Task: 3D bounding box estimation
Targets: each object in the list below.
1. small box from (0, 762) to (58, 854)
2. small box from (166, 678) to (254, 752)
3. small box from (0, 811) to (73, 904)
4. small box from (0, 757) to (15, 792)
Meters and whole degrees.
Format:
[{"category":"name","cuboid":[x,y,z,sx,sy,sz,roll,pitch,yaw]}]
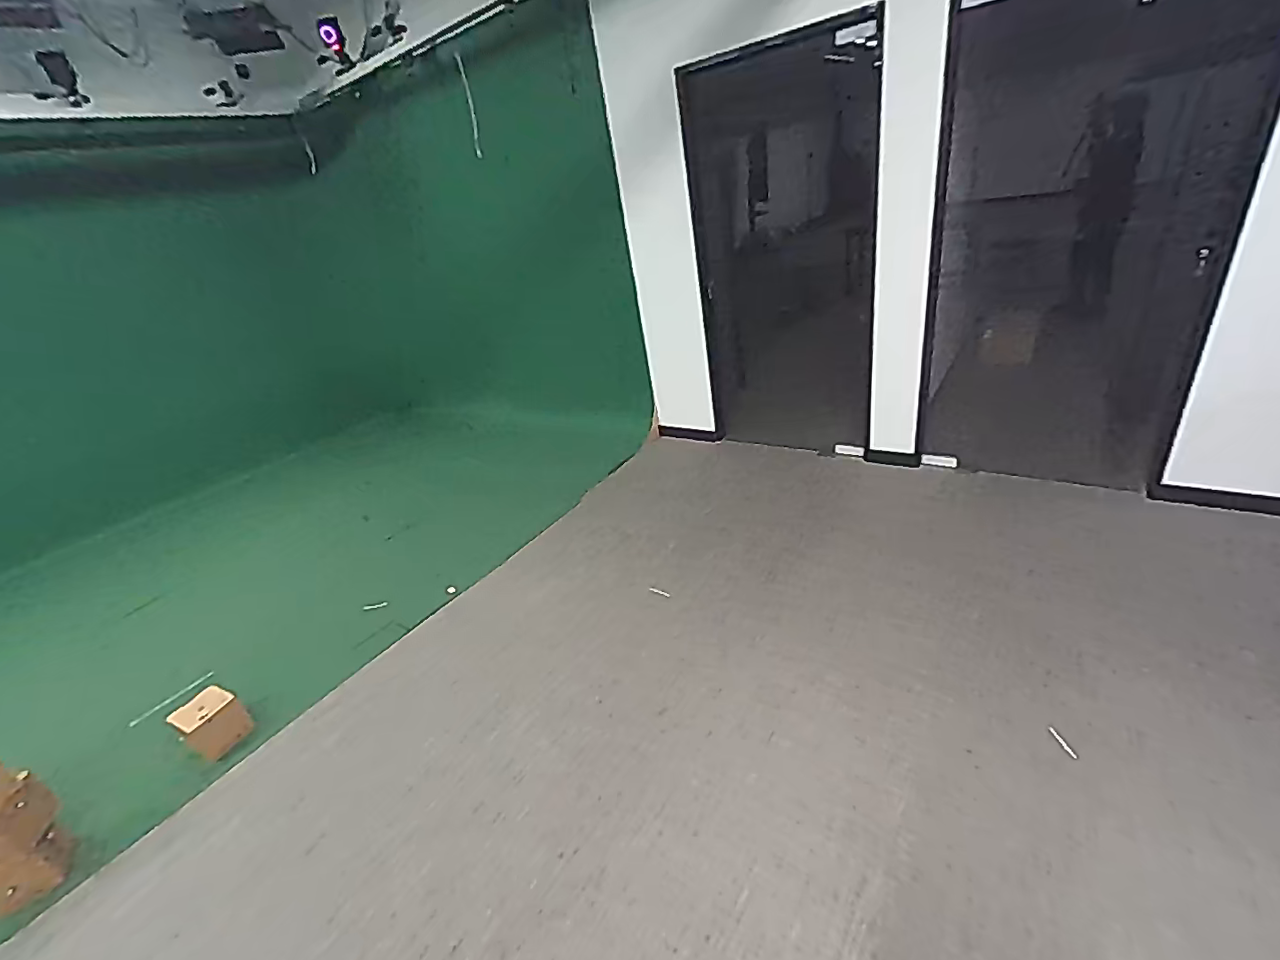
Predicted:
[{"category":"small box","cuboid":[-1.881,0.974,1.574,0.168,0.176,0.179,-15,28,-12]},{"category":"small box","cuboid":[-1.592,0.874,2.007,0.179,0.176,0.168,5,31,28]},{"category":"small box","cuboid":[-1.879,1.129,1.633,0.168,0.176,0.179,-27,32,-29]},{"category":"small box","cuboid":[-1.911,0.836,1.490,0.168,0.176,0.179,0,30,15]}]
